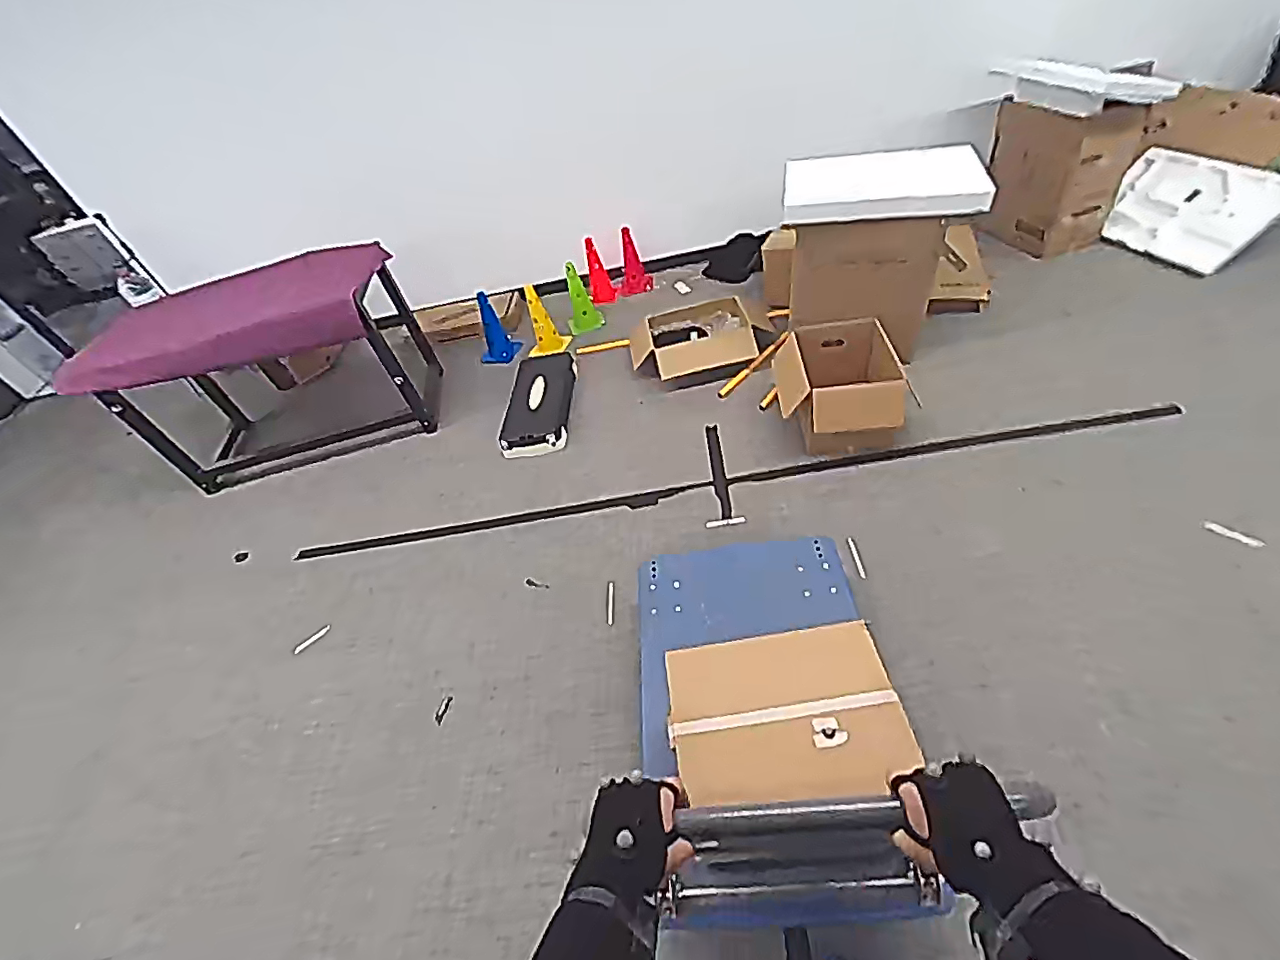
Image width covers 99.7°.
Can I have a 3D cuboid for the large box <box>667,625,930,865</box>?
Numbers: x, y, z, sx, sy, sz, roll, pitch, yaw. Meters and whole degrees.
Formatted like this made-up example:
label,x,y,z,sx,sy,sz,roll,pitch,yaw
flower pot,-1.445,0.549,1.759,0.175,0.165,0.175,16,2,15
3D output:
label,x,y,z,sx,sy,sz,roll,pitch,yaw
large box,0.287,0.537,1.091,0.408,0.320,0.320,-10,45,3
